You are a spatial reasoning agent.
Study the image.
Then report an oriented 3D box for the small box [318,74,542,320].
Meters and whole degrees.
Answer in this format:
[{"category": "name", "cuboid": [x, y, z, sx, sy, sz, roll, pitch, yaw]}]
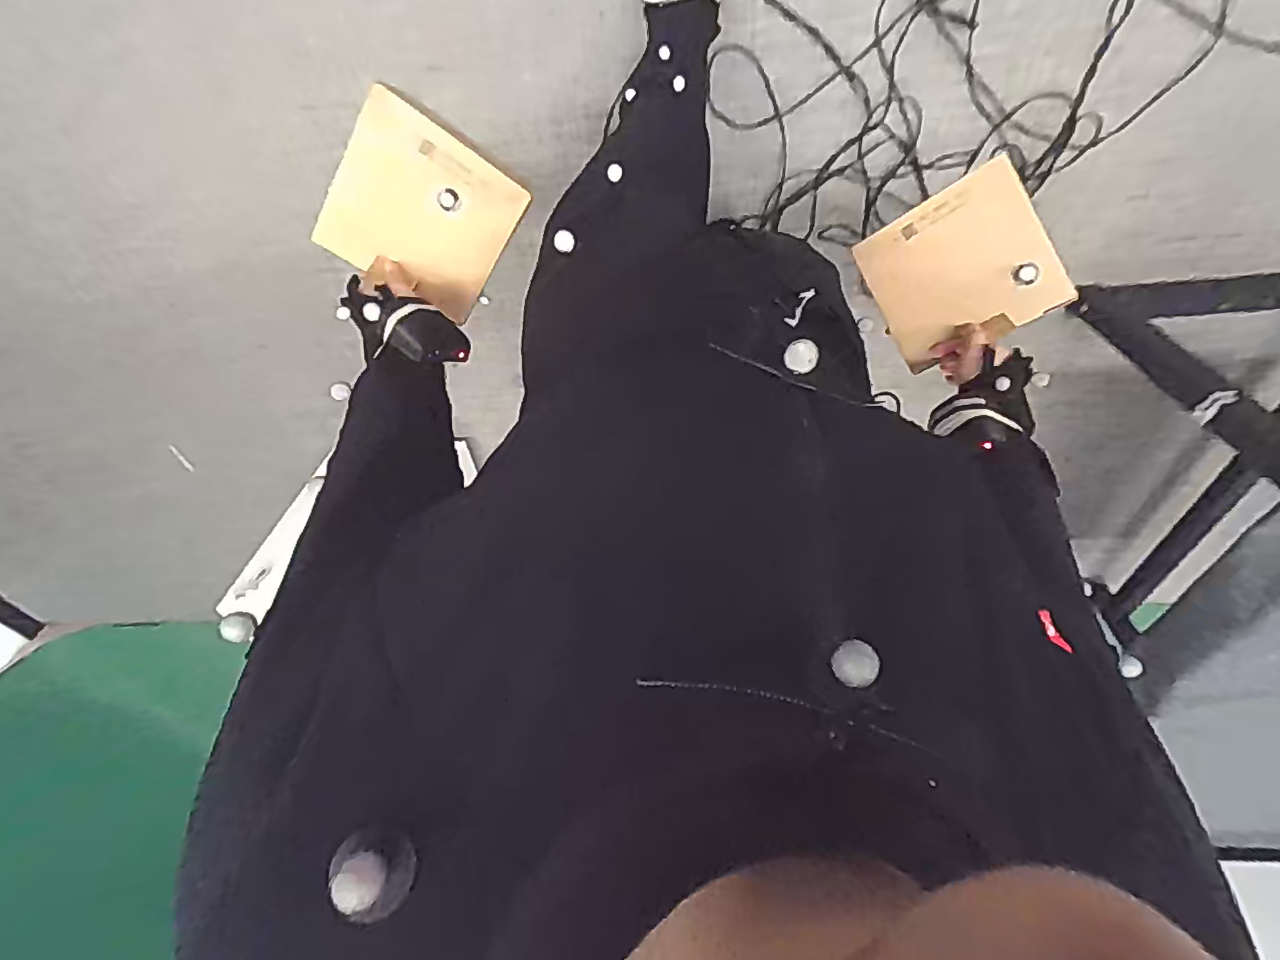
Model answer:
[{"category": "small box", "cuboid": [-0.226, -0.318, 0.620, 0.168, 0.179, 0.176, 30, 109, -25]}]
